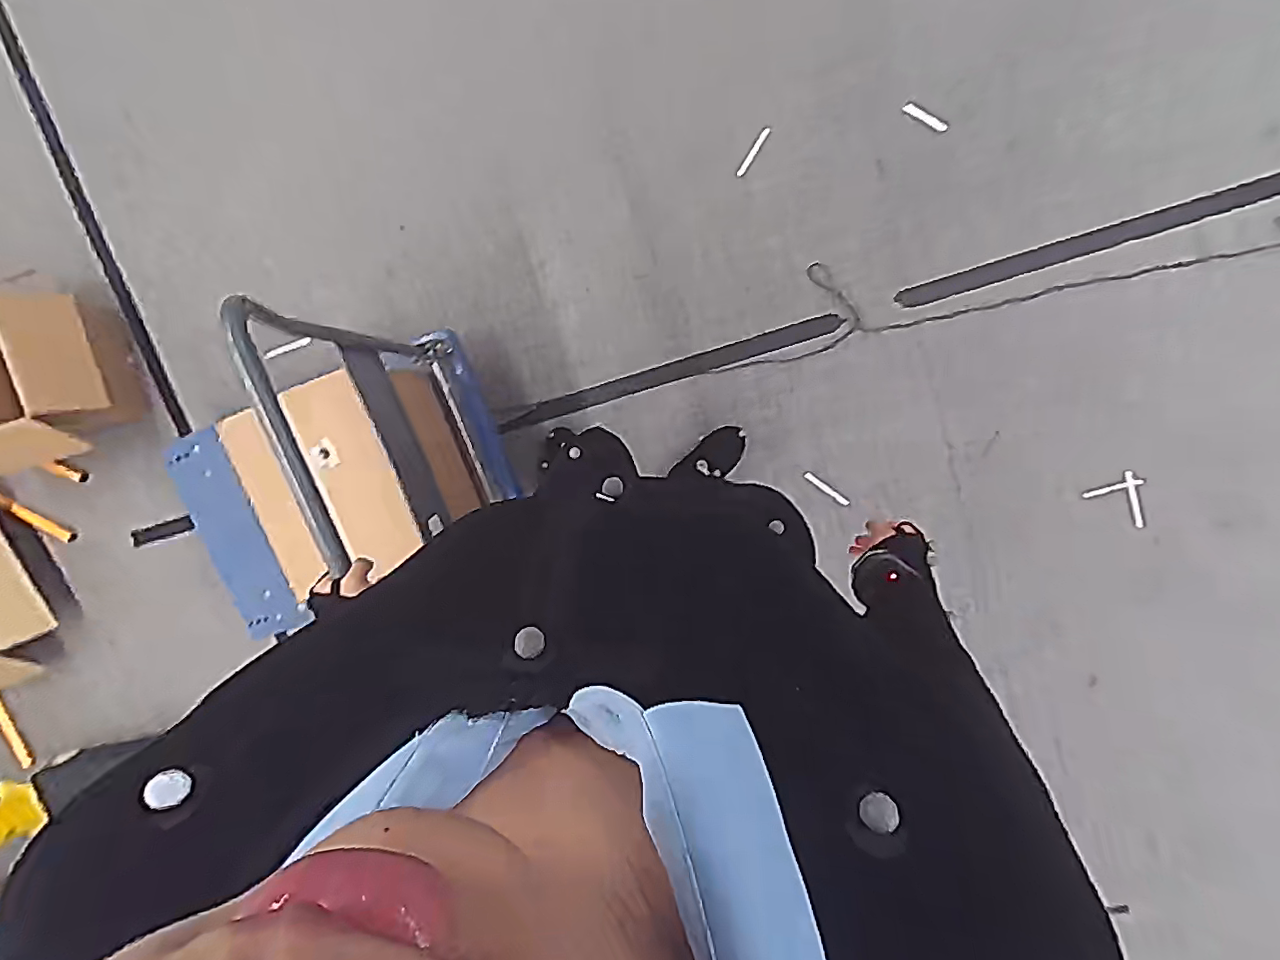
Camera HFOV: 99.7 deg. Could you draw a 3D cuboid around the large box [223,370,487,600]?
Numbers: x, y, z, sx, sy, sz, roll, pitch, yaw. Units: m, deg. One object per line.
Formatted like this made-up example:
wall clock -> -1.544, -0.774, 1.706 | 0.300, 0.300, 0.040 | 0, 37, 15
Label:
large box -> -0.608, -0.002, 1.225 | 0.320, 0.320, 0.408 | -20, 96, 8
